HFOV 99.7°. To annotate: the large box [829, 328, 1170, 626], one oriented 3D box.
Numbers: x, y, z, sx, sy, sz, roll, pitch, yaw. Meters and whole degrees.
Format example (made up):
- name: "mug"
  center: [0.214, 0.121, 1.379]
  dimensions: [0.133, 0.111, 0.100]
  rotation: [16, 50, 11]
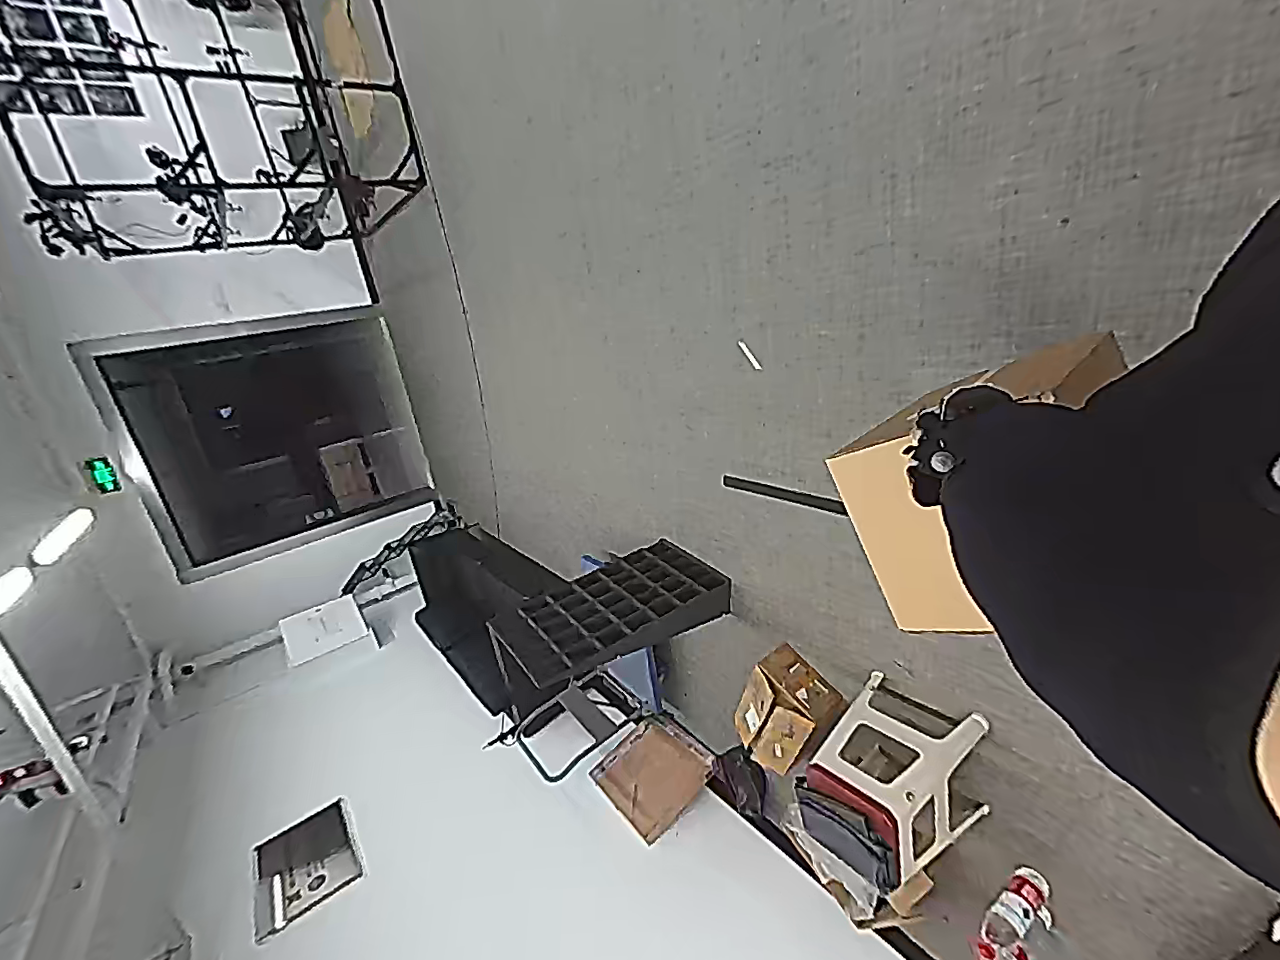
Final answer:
- name: "large box"
  center: [0.587, -0.006, 0.873]
  dimensions: [0.320, 0.408, 0.320]
  rotation: [-23, 93, 52]
